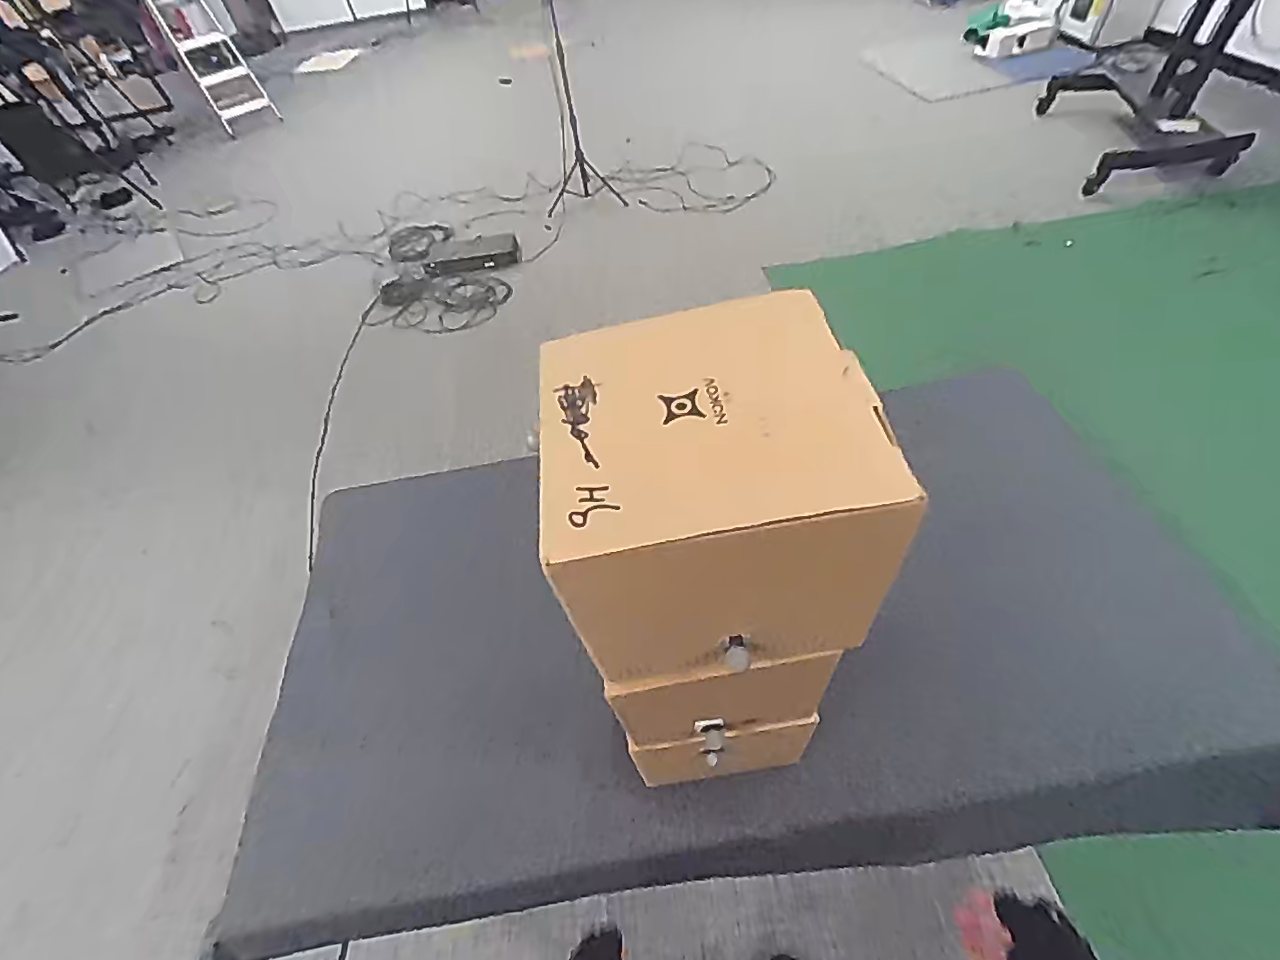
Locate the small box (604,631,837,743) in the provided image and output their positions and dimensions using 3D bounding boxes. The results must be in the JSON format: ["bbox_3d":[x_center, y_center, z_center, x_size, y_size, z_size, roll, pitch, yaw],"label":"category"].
[{"bbox_3d":[0.054,0.113,0.486,0.168,0.176,0.179,-12,52,1],"label":"small box"}]

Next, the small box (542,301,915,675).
[{"bbox_3d":[0.041,0.012,0.357,0.179,0.176,0.168,-10,50,1],"label":"small box"}]

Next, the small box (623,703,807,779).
[{"bbox_3d":[0.074,0.229,0.620,0.179,0.176,0.168,-9,52,0],"label":"small box"}]
